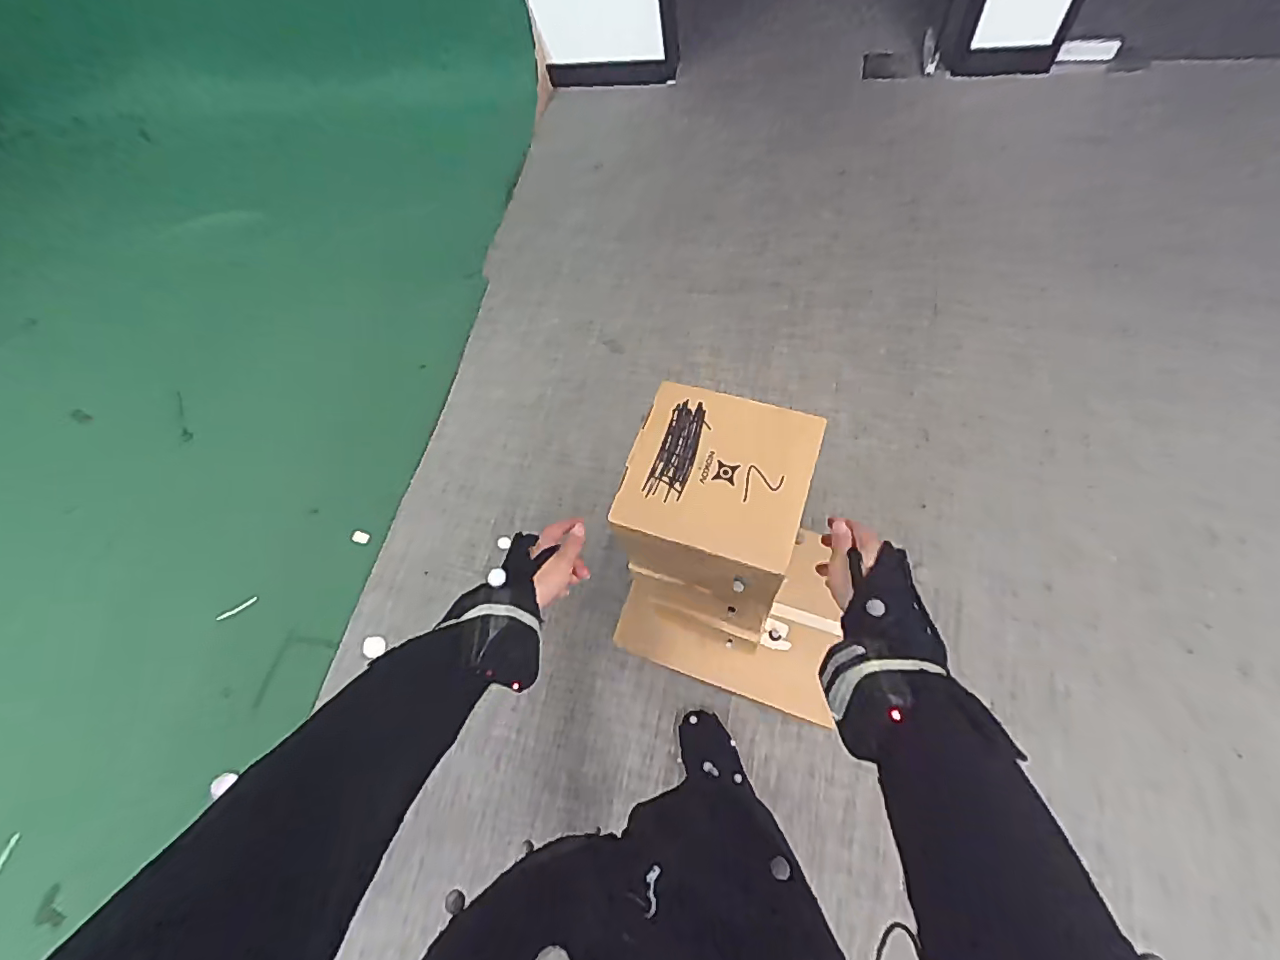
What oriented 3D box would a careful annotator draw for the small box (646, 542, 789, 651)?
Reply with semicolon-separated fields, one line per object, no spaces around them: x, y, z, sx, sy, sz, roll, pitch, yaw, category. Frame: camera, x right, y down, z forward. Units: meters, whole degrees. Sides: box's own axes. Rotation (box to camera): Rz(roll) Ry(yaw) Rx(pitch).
0.129;0.169;0.882;0.179;0.176;0.168;16;70;16;small box

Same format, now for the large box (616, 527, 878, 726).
0.207;0.267;1.094;0.408;0.320;0.320;16;72;14;large box

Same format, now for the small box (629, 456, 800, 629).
0.104;0.092;0.741;0.179;0.176;0.168;16;70;15;small box
